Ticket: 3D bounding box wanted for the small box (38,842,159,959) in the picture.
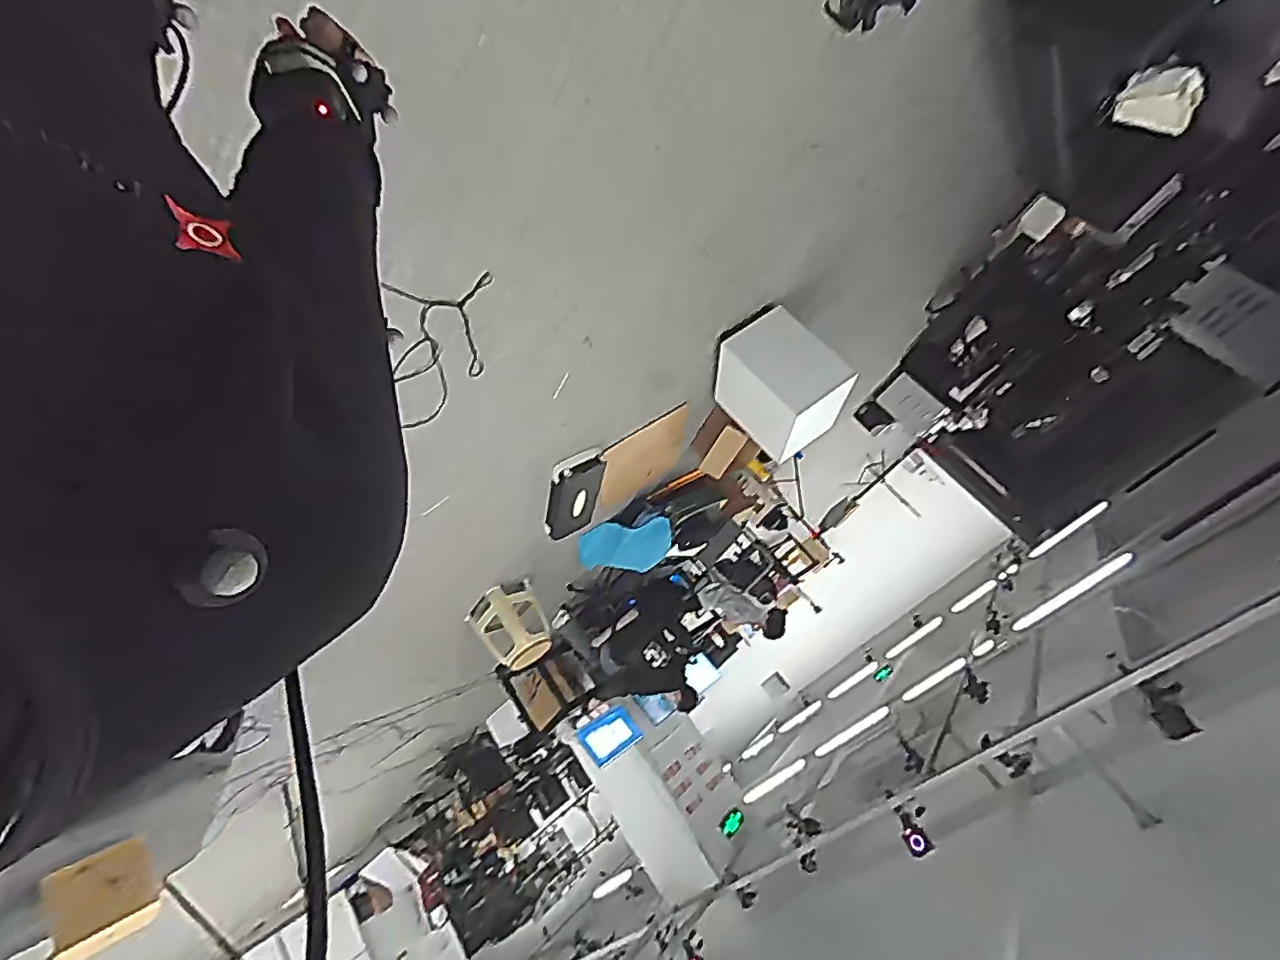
[{"bbox_3d":[-1.225,0.965,1.222,0.168,0.176,0.179,-11,145,-51],"label":"small box"}]
